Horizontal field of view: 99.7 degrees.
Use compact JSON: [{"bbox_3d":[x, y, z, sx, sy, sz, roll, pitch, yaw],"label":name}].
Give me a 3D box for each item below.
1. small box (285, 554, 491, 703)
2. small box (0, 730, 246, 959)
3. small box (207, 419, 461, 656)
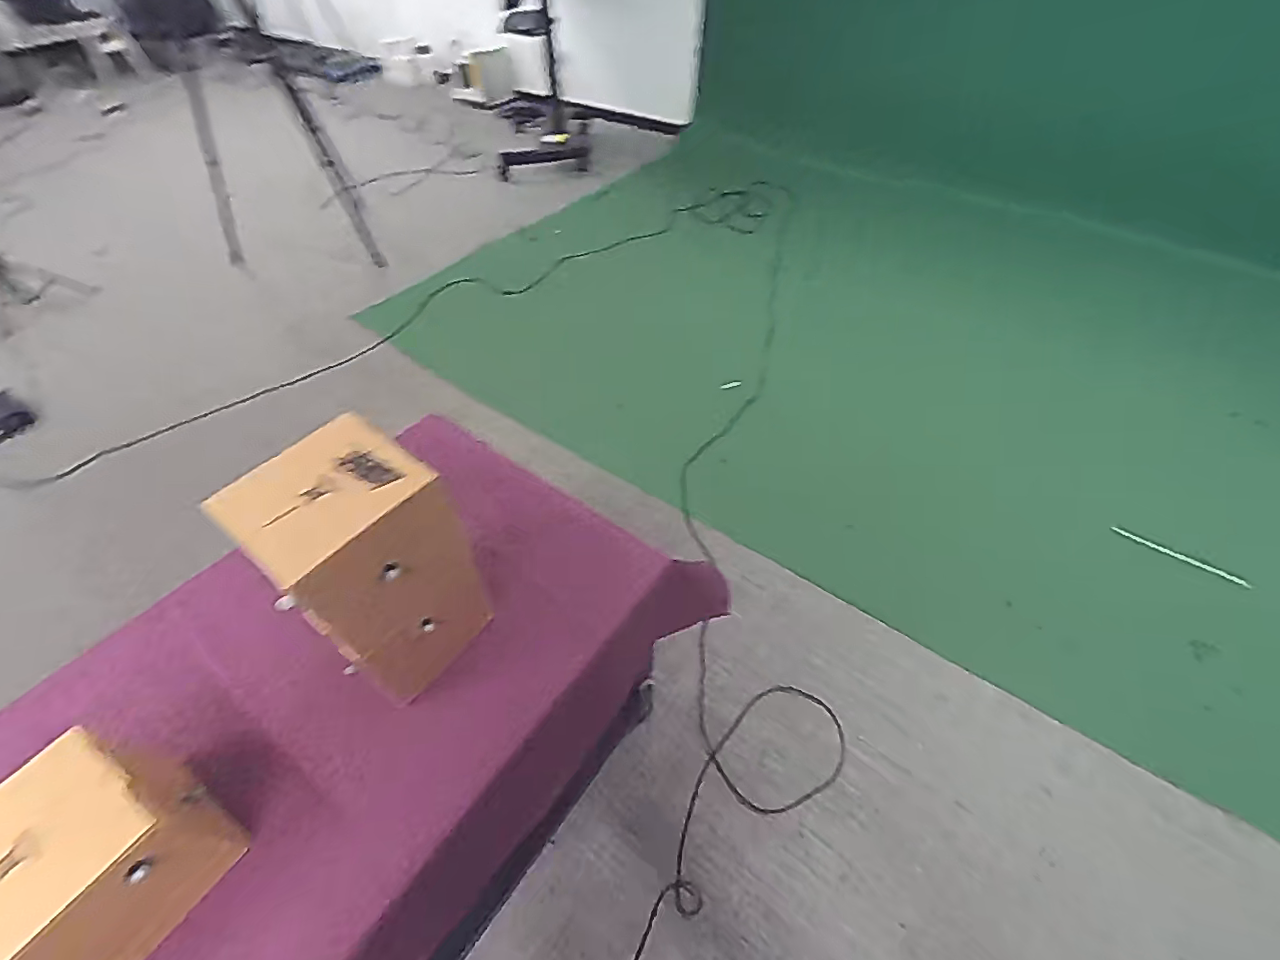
[{"bbox_3d":[-0.336,0.176,0.756,0.168,0.176,0.179,30,56,23],"label":"small box"},{"bbox_3d":[-0.574,0.407,0.563,0.168,0.176,0.179,25,53,21],"label":"small box"},{"bbox_3d":[-0.334,0.067,0.633,0.168,0.176,0.179,30,57,23],"label":"small box"}]
